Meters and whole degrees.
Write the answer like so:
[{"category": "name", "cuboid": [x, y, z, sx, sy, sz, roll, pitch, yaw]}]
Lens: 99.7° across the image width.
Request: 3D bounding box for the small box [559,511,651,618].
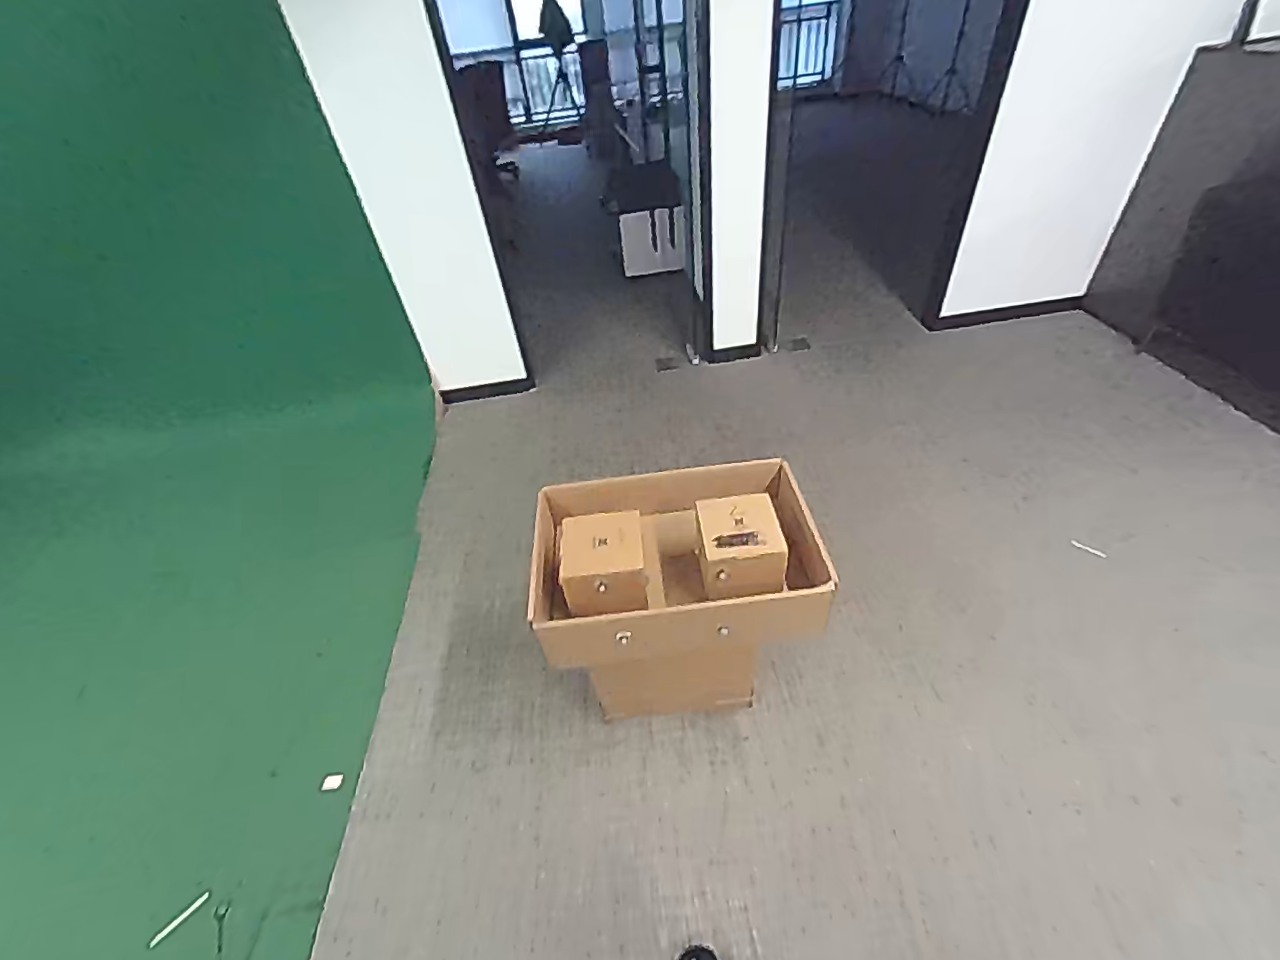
[{"category": "small box", "cuboid": [-0.073, 0.191, 1.201, 0.179, 0.176, 0.168, -6, 43, 1]}]
